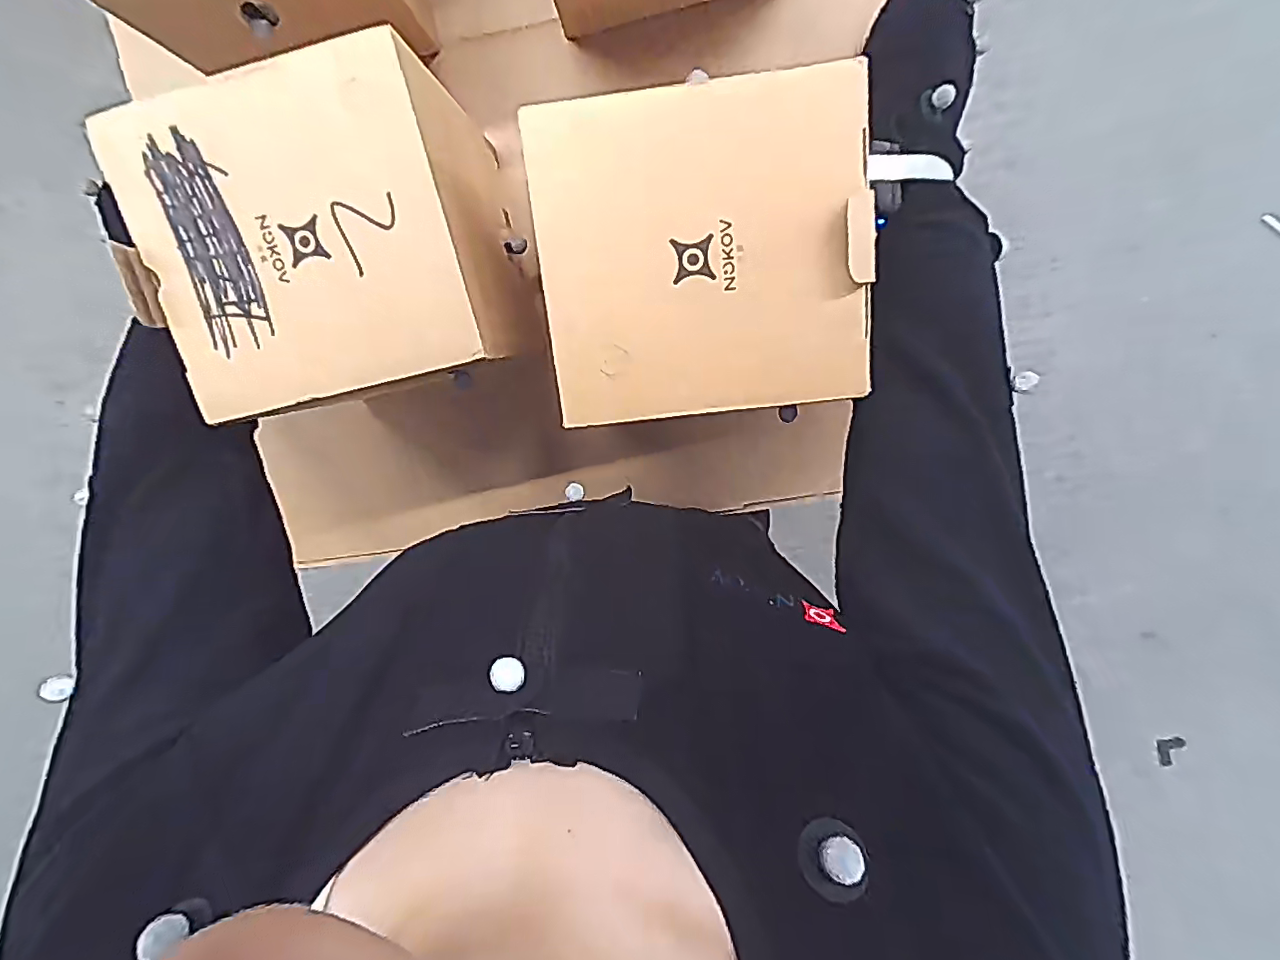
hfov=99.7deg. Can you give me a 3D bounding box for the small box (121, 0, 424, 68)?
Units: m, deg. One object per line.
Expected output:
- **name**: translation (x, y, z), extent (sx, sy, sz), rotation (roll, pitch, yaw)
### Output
- **small box**: translation (-0.254, -0.388, 0.324), extent (0.168, 0.176, 0.179), rotation (-9, 101, 5)

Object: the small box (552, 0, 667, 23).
- **small box**: translation (0.005, -0.412, 0.303), extent (0.179, 0.176, 0.168), rotation (-10, 101, 6)
